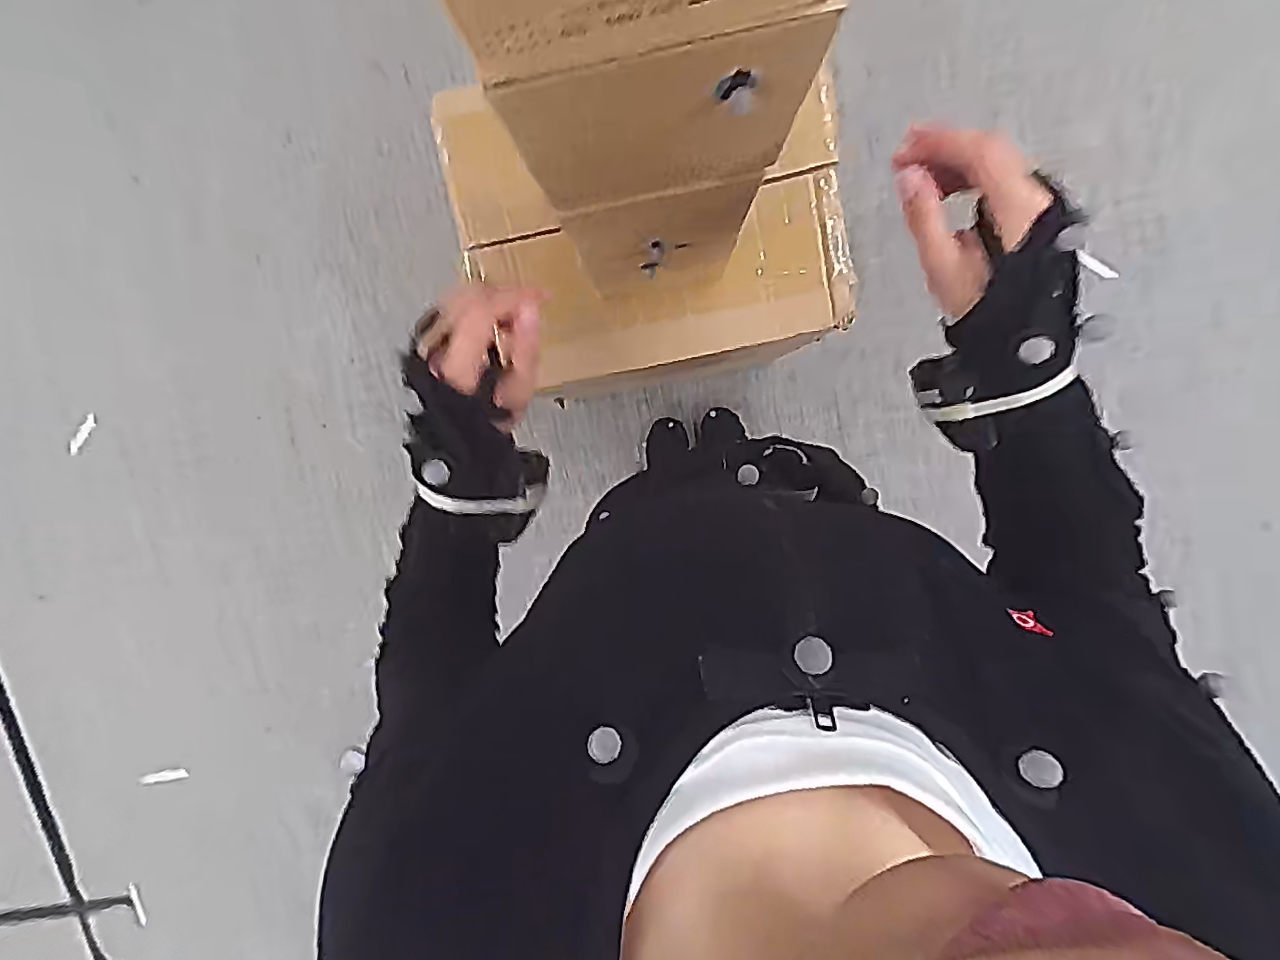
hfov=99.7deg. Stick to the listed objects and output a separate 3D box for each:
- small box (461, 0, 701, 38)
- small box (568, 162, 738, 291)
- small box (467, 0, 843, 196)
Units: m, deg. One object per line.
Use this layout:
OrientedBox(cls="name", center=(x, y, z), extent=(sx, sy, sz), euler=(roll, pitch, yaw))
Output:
OrientedBox(cls="small box", center=(-0.014, -0.277, 0.156), extent=(0.168, 0.176, 0.179), euler=(-11, 97, 5))
OrientedBox(cls="small box", center=(0.011, -0.336, 0.644), extent=(0.179, 0.176, 0.168), euler=(-9, 97, 4))
OrientedBox(cls="small box", center=(-0.001, -0.295, 0.317), extent=(0.179, 0.176, 0.168), euler=(-10, 97, 5))
